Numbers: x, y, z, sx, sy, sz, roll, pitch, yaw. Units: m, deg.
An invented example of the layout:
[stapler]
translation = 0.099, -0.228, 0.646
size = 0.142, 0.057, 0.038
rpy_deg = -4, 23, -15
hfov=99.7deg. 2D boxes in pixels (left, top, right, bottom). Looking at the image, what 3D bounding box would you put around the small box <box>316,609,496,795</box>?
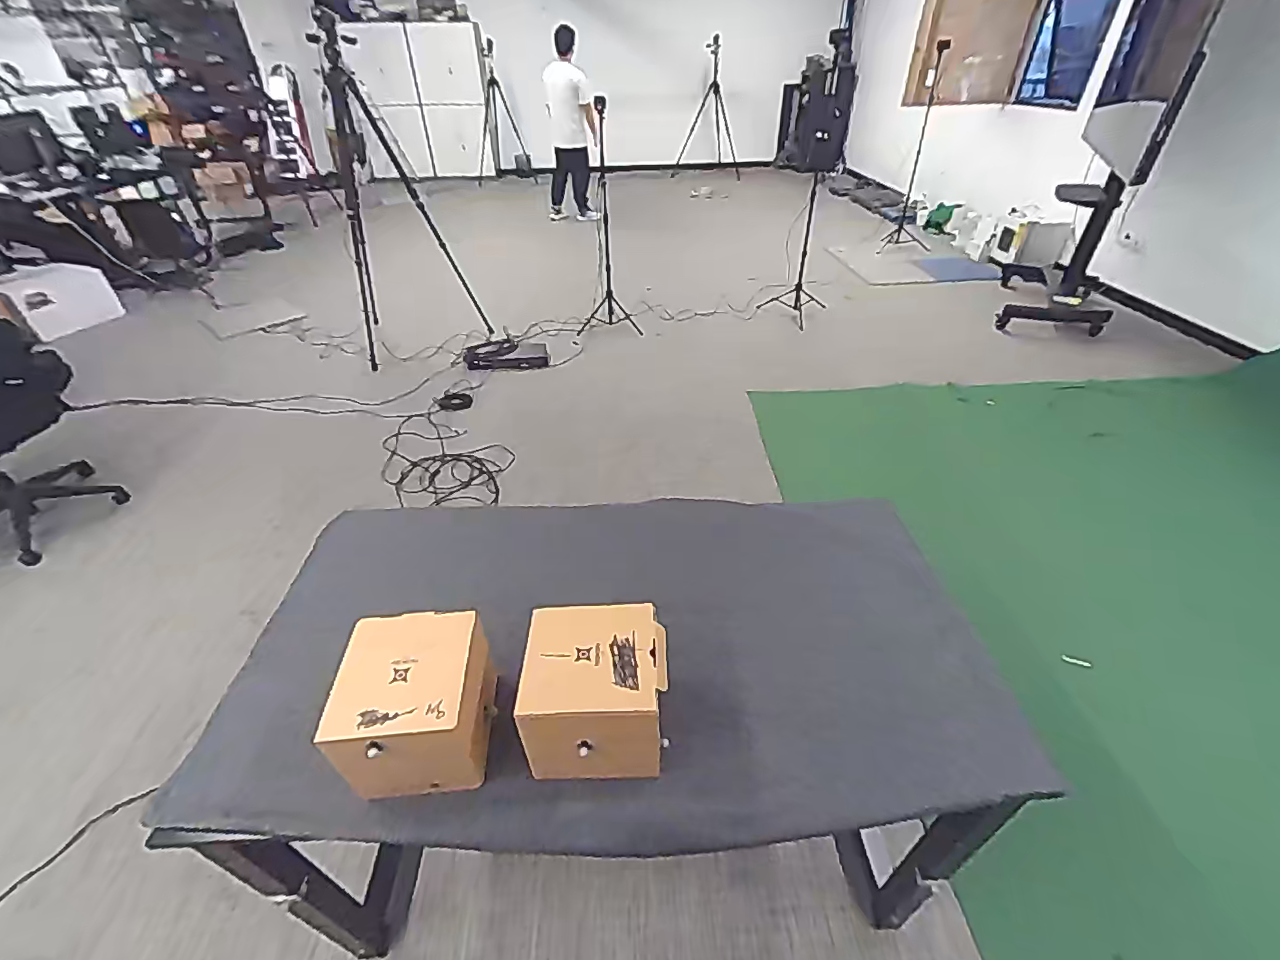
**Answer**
[small box]
translation = -0.303, 0.304, 0.748
size = 0.168, 0.176, 0.179
rpy_deg = -4, 38, -2
